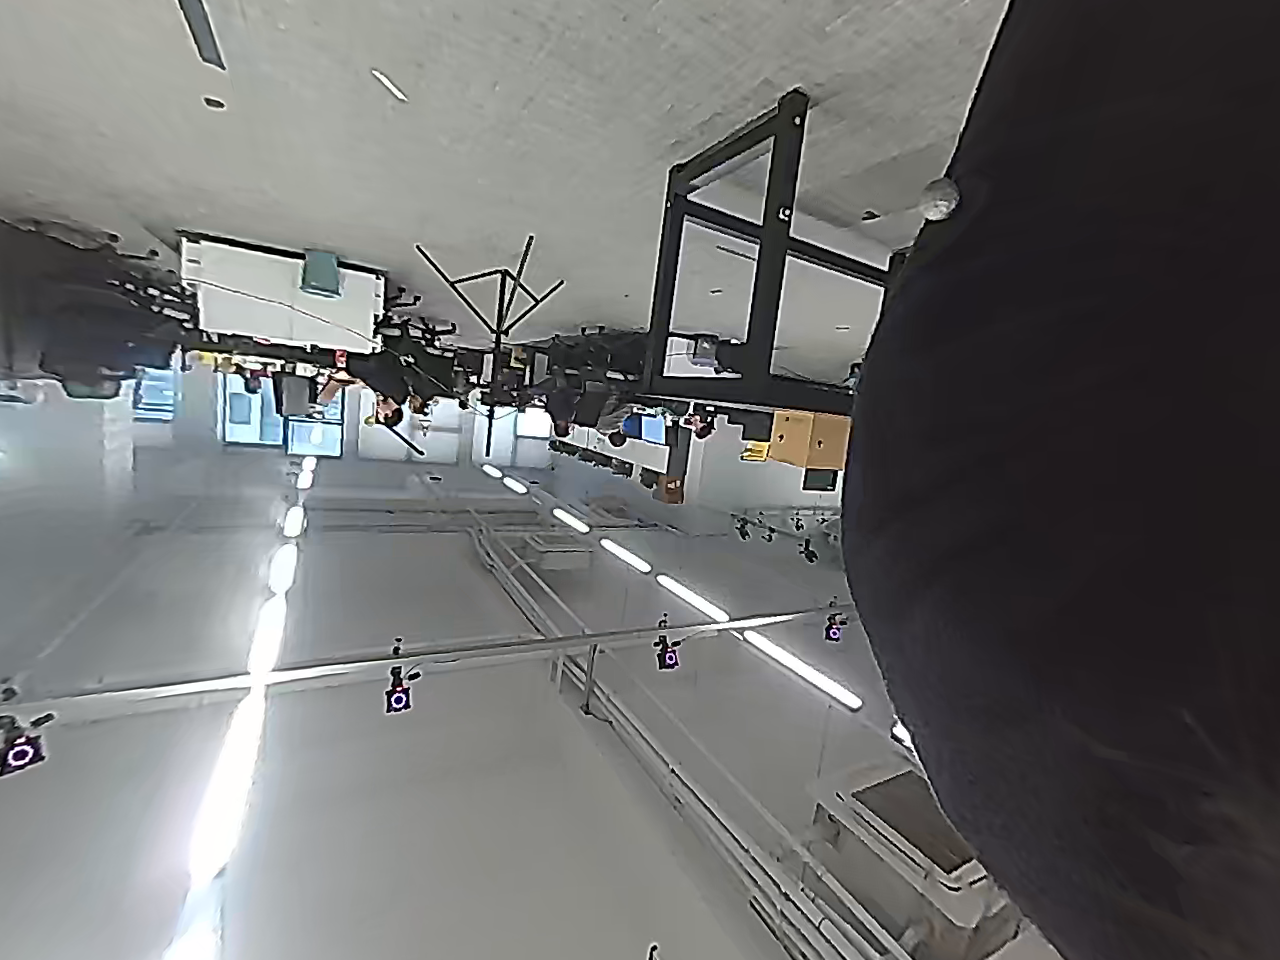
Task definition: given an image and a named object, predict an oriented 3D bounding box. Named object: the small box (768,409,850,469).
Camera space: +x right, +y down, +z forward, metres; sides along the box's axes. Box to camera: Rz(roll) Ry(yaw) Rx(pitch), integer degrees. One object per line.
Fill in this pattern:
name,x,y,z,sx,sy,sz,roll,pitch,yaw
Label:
small box,0.535,-0.133,1.712,0.179,0.176,0.168,1,-169,-30
